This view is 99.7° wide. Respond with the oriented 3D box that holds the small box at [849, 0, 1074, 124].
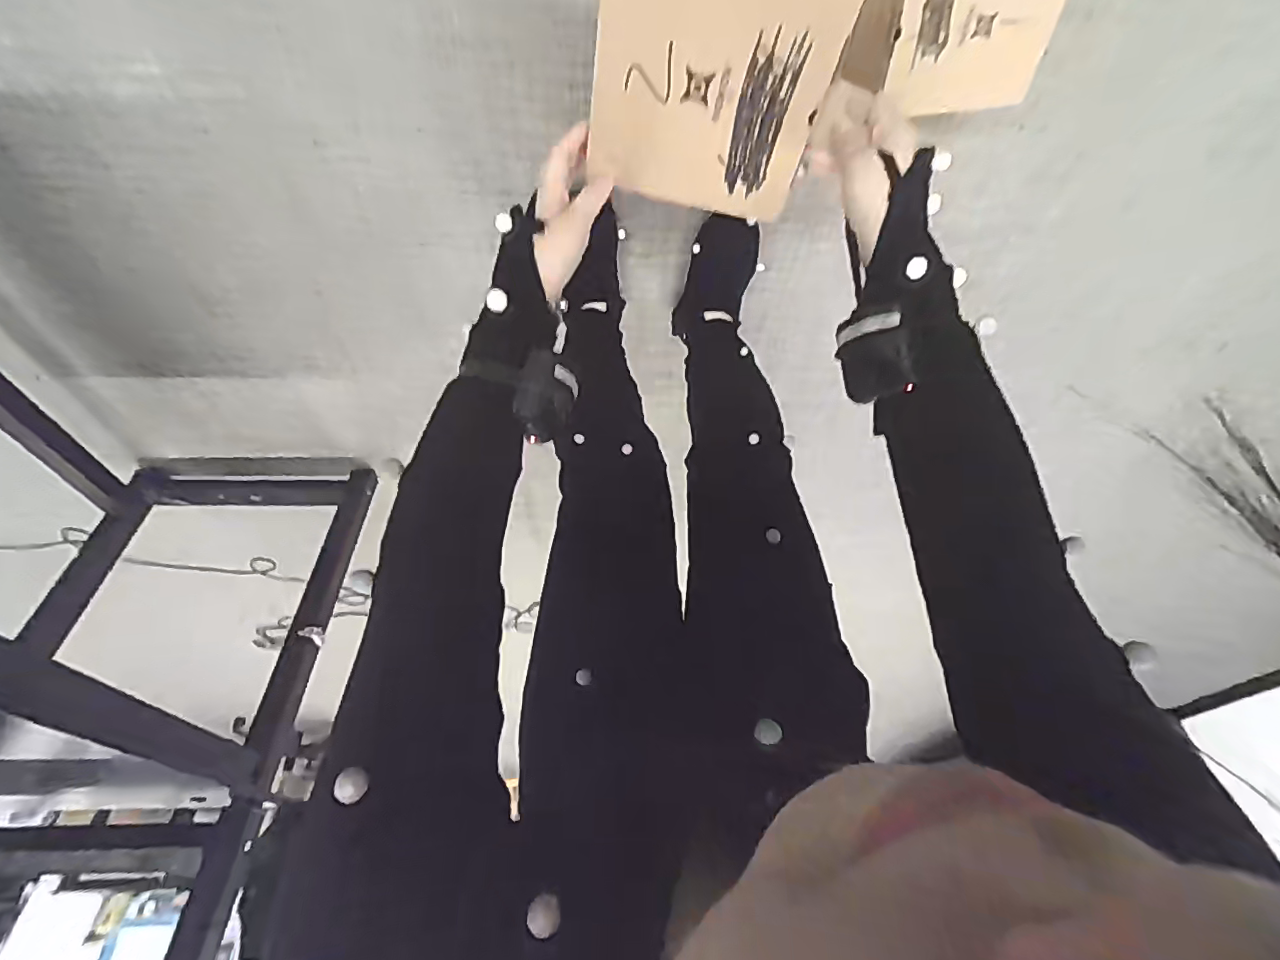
[{"bbox_3d":[0.362,-0.540,0.627,0.179,0.176,0.168,-4,141,2],"label":"small box"}]
